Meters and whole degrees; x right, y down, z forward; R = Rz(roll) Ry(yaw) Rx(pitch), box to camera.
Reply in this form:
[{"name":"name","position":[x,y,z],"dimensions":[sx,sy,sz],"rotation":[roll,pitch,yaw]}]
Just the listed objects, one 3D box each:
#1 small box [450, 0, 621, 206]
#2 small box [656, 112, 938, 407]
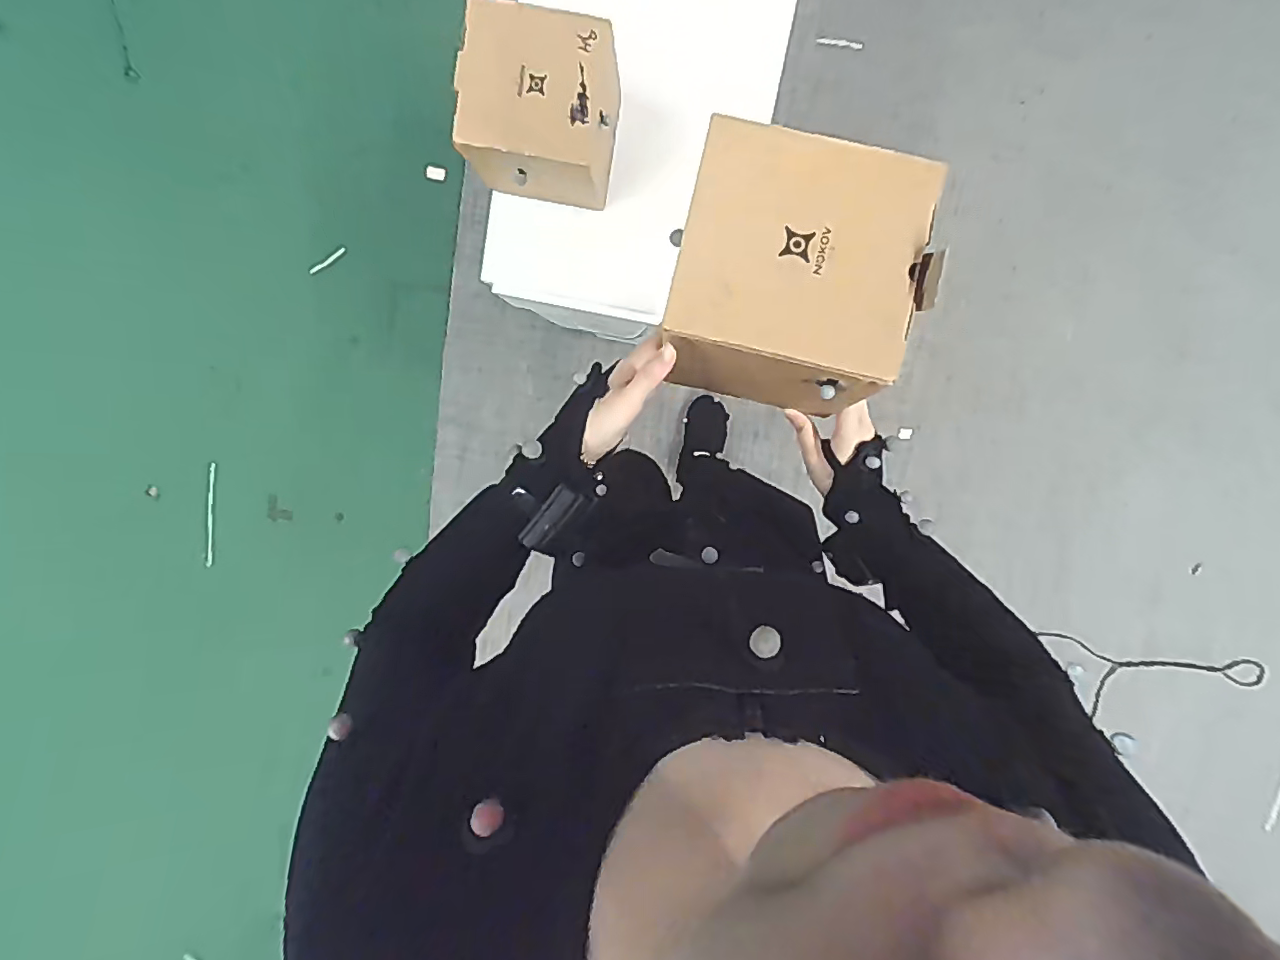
[{"name":"small box","position":[-0.130,-0.489,0.725],"dimensions":[0.179,0.176,0.168],"rotation":[10,101,1]},{"name":"small box","position":[0.116,-0.169,0.470],"dimensions":[0.179,0.176,0.168],"rotation":[13,88,2]}]
